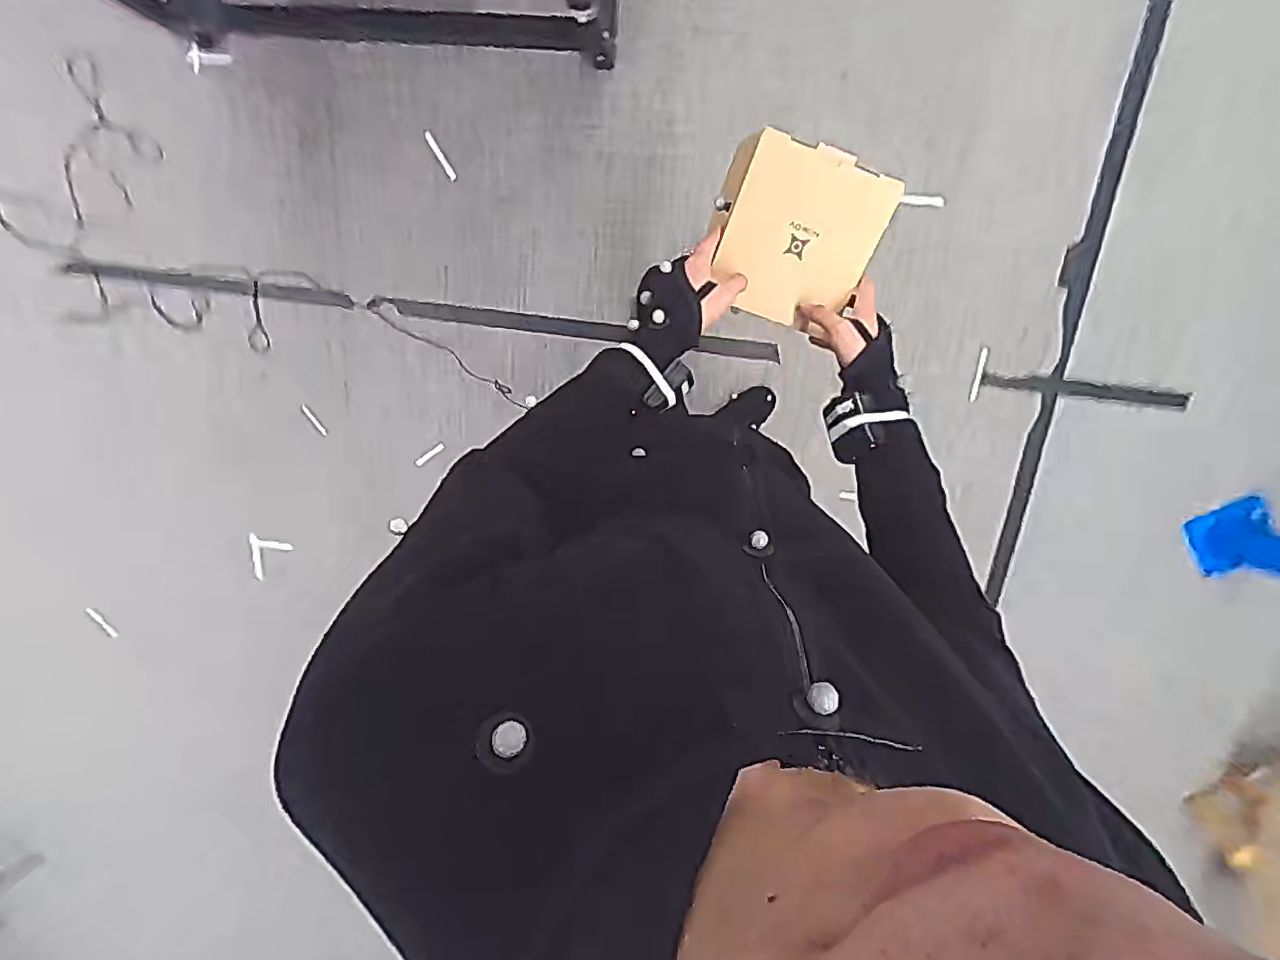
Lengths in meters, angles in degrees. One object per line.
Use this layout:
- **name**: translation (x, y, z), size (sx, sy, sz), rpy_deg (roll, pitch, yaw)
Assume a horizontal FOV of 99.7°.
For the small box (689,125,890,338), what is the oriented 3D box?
- **small box**: translation (0.164, -0.298, 0.665), size (0.168, 0.176, 0.179), rpy_deg (16, 115, -7)
